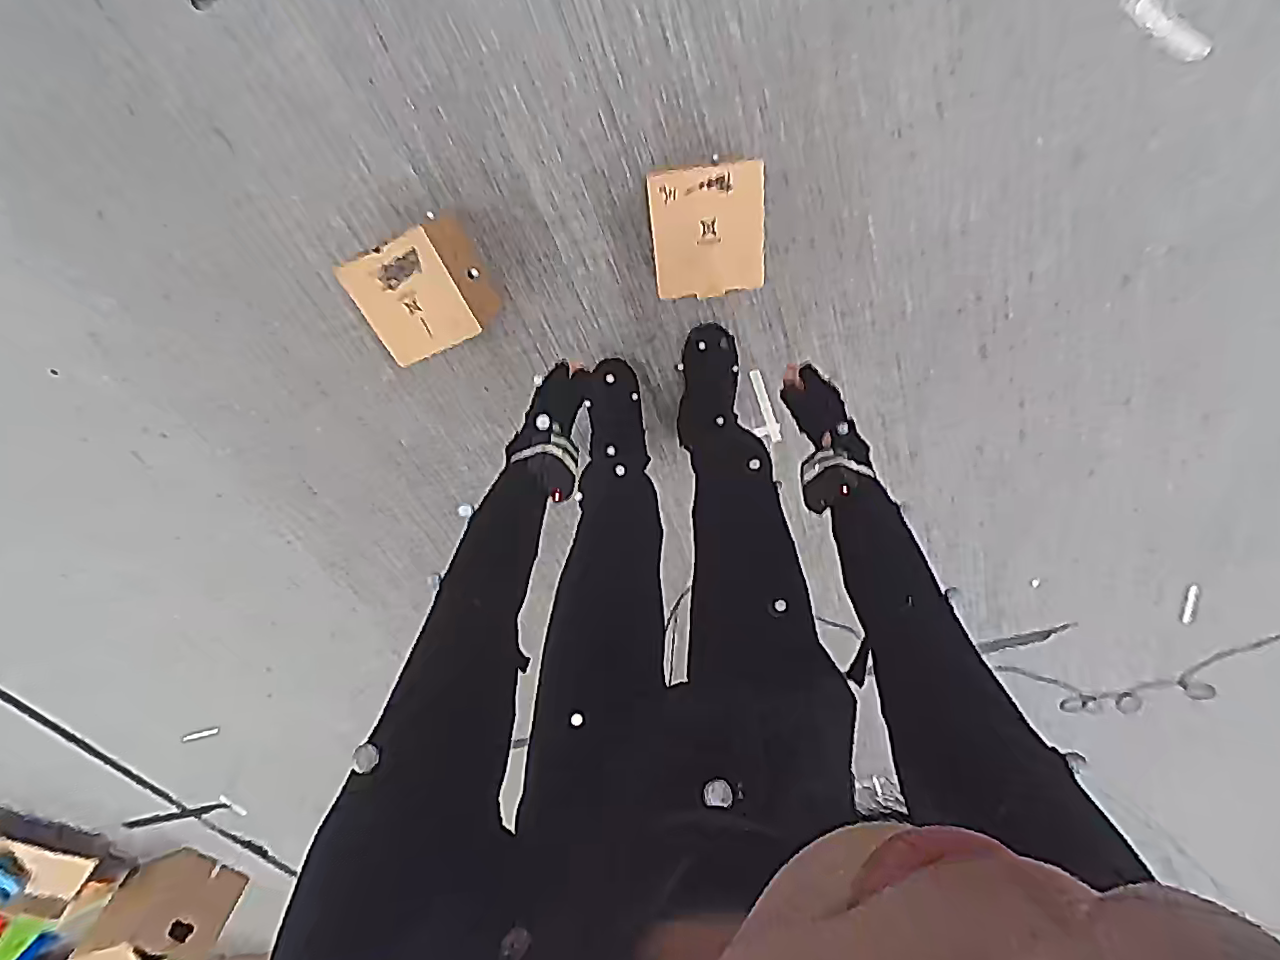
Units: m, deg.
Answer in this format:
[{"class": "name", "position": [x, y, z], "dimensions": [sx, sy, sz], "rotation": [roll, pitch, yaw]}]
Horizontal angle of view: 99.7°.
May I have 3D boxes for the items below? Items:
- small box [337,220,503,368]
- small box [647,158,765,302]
[{"class": "small box", "position": [-0.357, -0.321, 0.915], "dimensions": [0.168, 0.176, 0.179], "rotation": [-19, 121, 12]}, {"class": "small box", "position": [0.102, -0.401, 0.862], "dimensions": [0.168, 0.176, 0.179], "rotation": [-5, 123, 4]}]
